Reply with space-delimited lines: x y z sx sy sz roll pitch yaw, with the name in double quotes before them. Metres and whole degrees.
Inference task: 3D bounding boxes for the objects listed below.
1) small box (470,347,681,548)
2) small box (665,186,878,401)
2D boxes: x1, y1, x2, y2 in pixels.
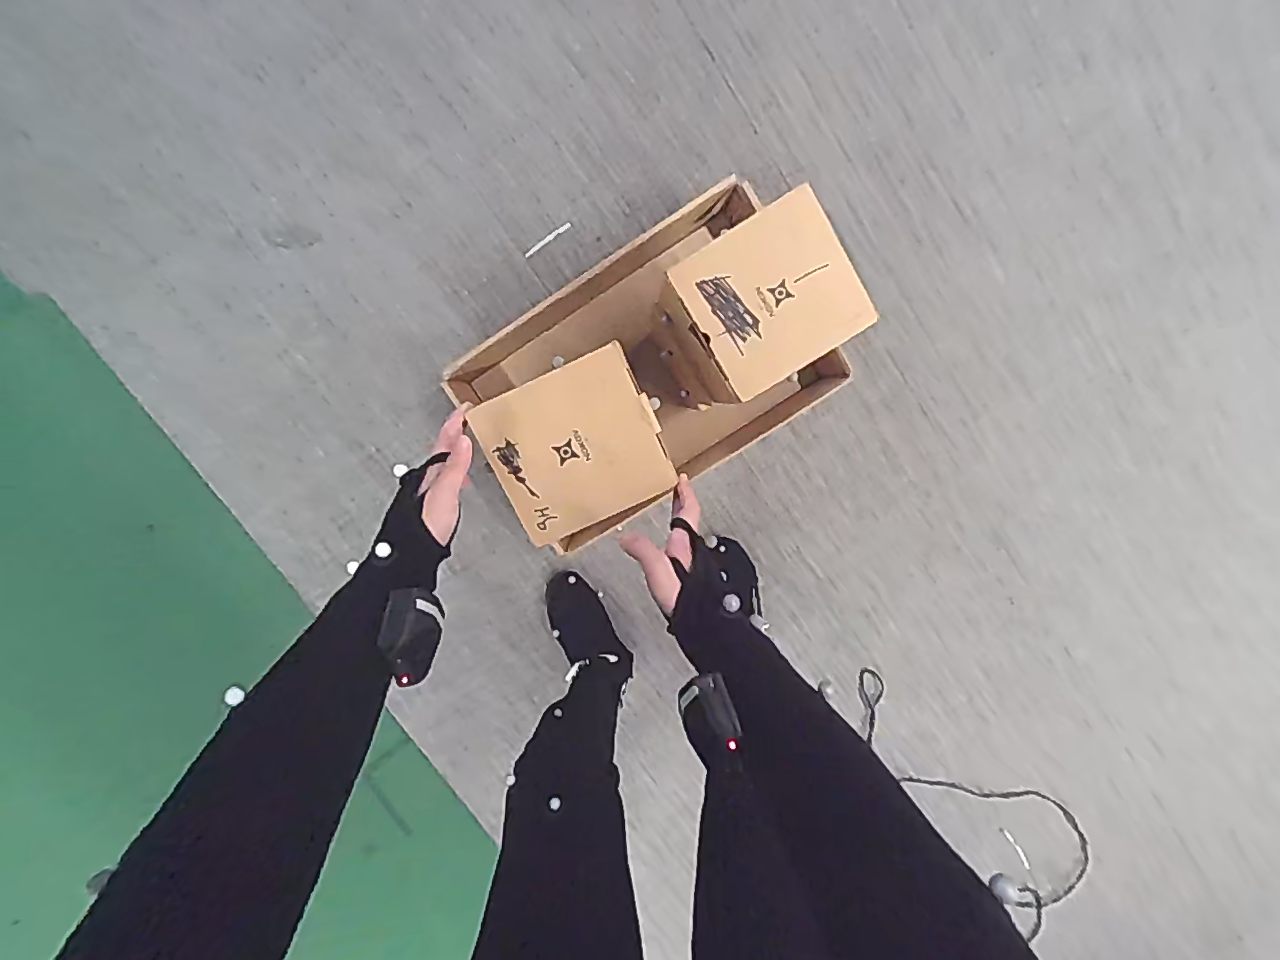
"small box" -0.068 -0.049 0.644 0.179 0.176 0.168 -24 102 5
"small box" 0.143 -0.206 0.656 0.179 0.176 0.168 -31 98 4
